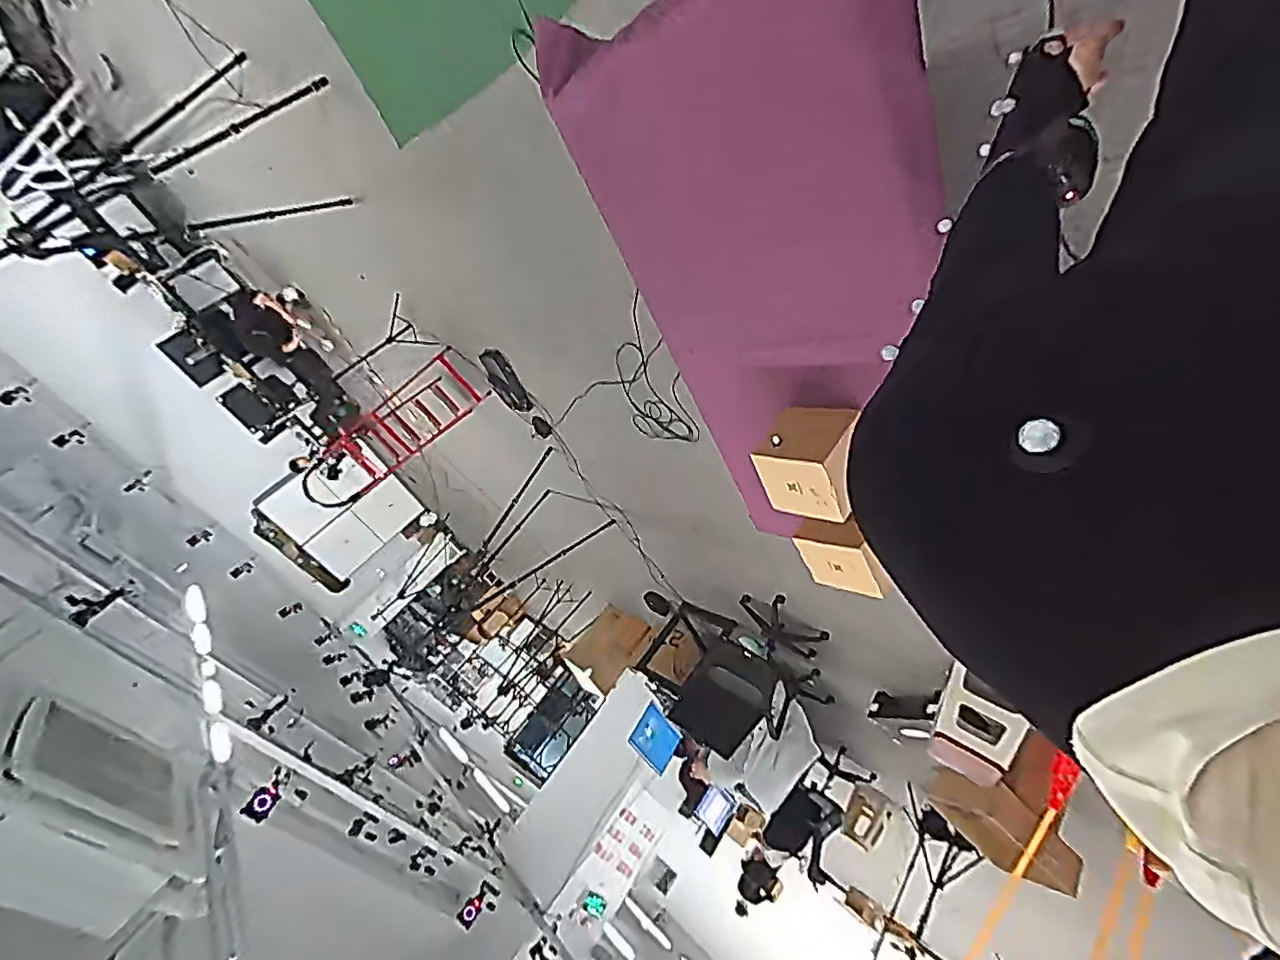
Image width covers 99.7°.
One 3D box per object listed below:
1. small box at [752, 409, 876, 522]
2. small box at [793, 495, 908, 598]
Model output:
[{"bbox_3d":[0.376,-0.038,1.161,0.179,0.176,0.168,11,141,47],"label":"small box"},{"bbox_3d":[0.499,0.147,1.276,0.179,0.176,0.168,6,137,51],"label":"small box"}]
